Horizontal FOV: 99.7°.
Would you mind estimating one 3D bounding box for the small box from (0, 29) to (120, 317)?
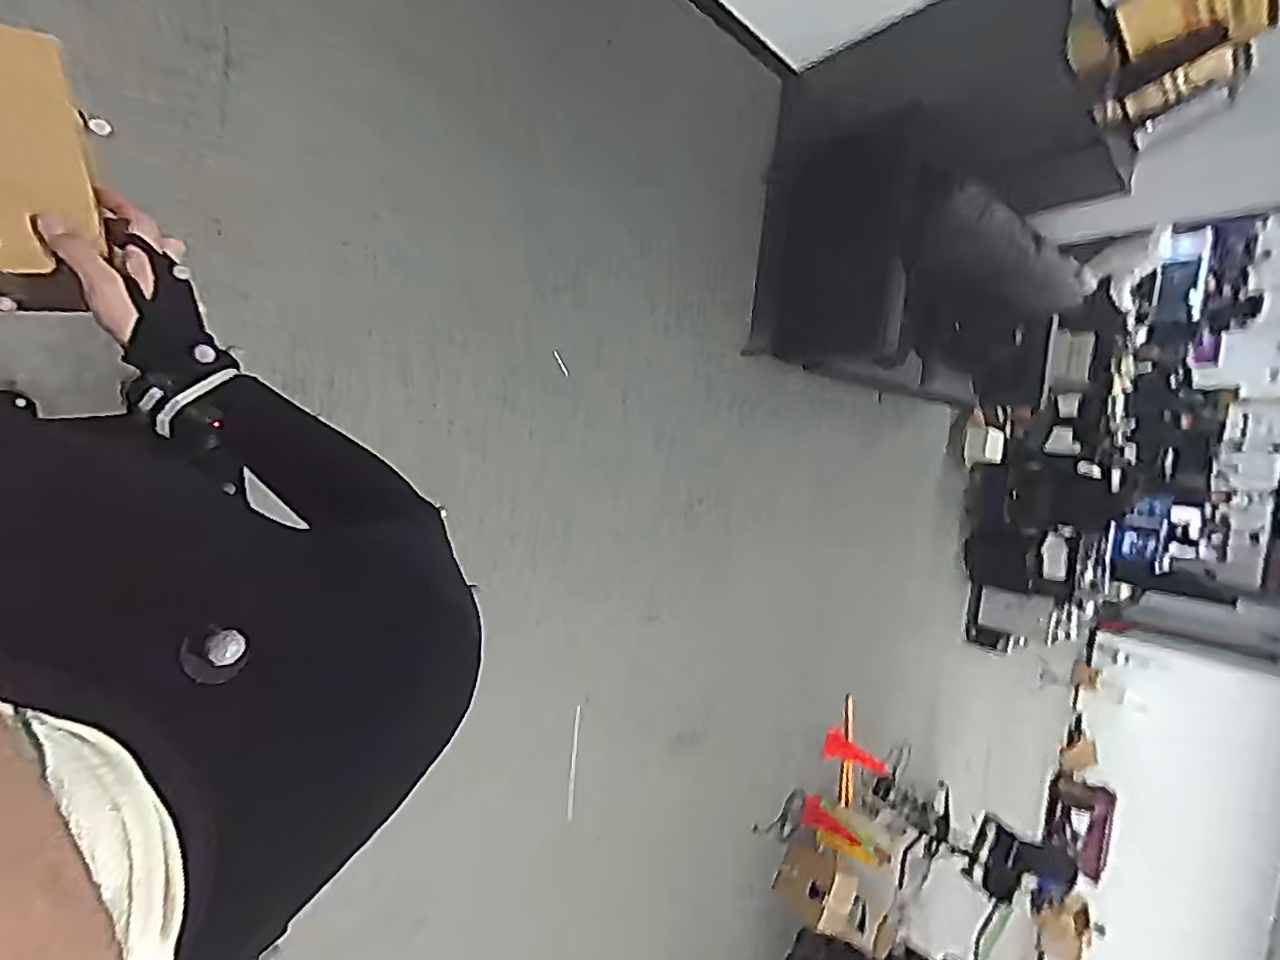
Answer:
[{"bbox_3d":[-0.567,-0.254,0.452,0.168,0.176,0.179,-5,91,-35],"label":"small box"}]
